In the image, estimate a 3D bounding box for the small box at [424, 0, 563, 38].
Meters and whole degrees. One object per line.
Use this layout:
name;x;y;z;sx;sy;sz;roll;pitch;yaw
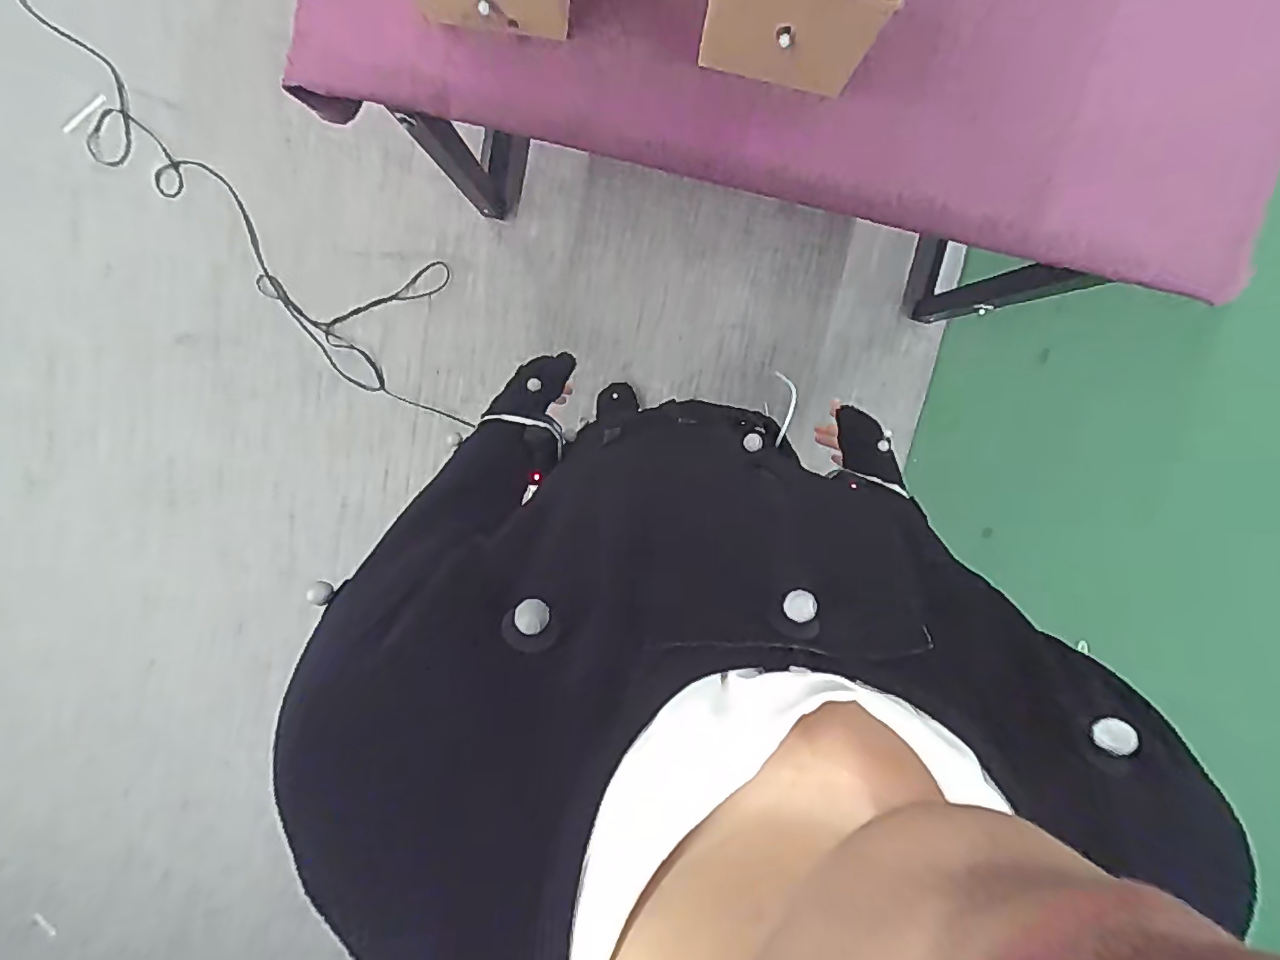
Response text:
small box;-0.163;-0.611;0.552;0.168;0.176;0.179;7;99;-3
